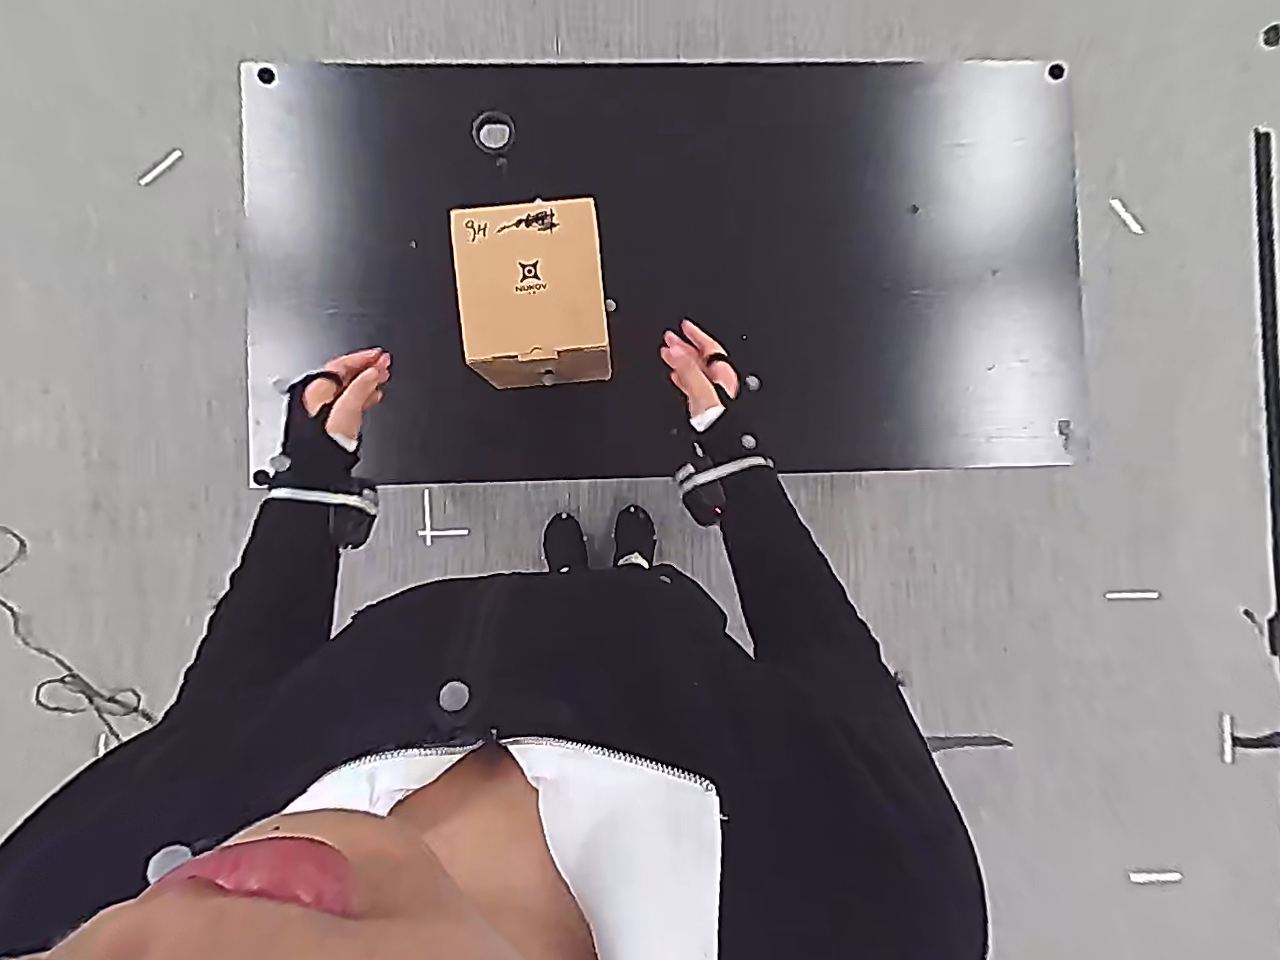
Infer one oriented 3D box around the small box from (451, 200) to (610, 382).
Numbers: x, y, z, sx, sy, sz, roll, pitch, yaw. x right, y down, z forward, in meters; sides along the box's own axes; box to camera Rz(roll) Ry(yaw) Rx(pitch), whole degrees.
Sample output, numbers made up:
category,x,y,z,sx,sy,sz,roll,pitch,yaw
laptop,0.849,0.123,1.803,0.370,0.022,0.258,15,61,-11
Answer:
category,x,y,z,sx,sy,sz,roll,pitch,yaw
small box,-0.129,-0.228,0.699,0.168,0.176,0.179,-6,89,-2
